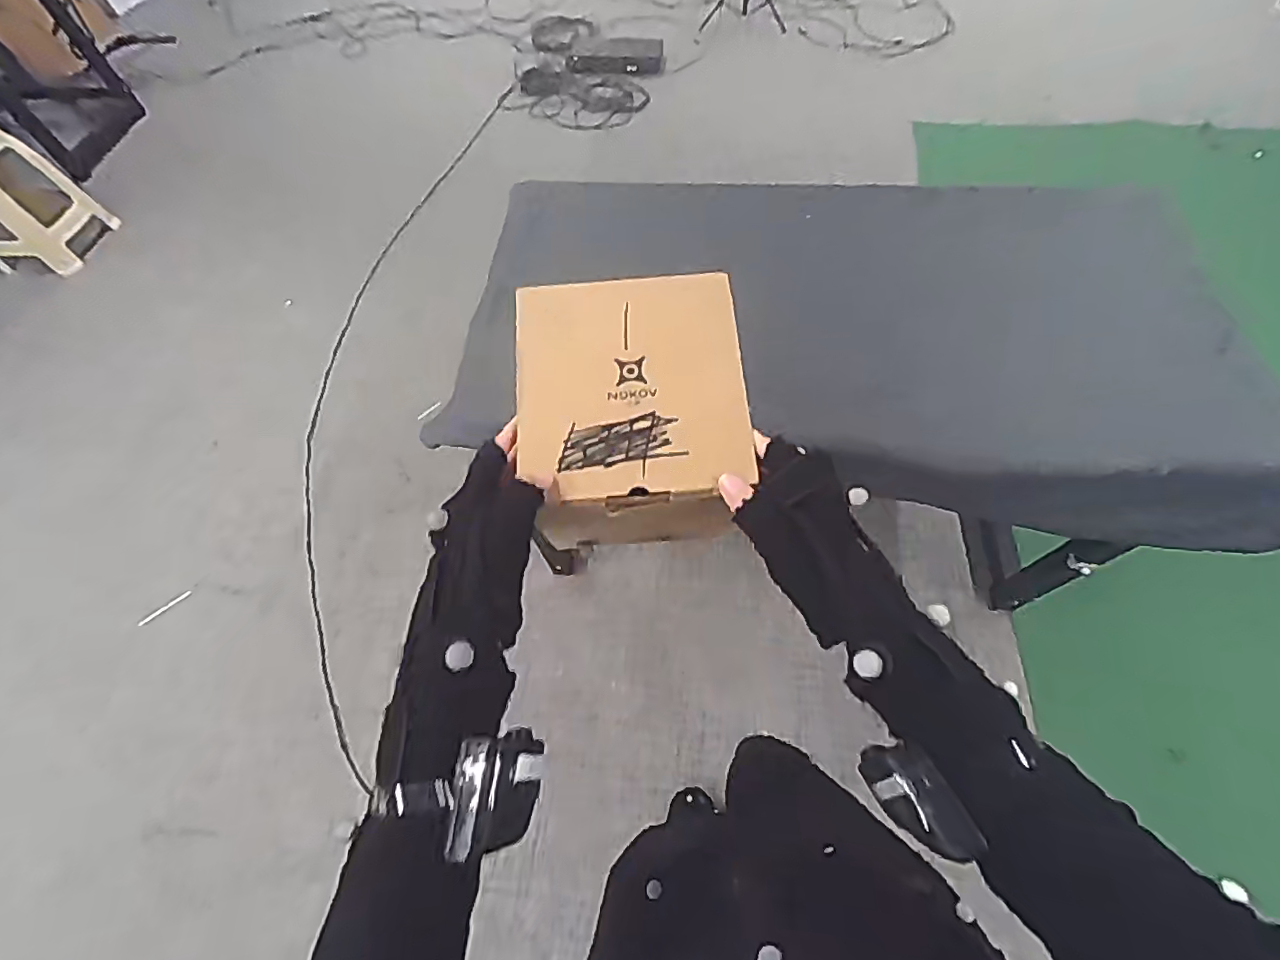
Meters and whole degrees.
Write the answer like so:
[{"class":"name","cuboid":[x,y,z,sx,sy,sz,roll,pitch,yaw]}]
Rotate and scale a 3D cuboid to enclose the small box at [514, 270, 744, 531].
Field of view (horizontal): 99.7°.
[{"class":"small box","cuboid":[-0.009,-0.055,0.477,0.168,0.176,0.179,-3,72,0]}]
